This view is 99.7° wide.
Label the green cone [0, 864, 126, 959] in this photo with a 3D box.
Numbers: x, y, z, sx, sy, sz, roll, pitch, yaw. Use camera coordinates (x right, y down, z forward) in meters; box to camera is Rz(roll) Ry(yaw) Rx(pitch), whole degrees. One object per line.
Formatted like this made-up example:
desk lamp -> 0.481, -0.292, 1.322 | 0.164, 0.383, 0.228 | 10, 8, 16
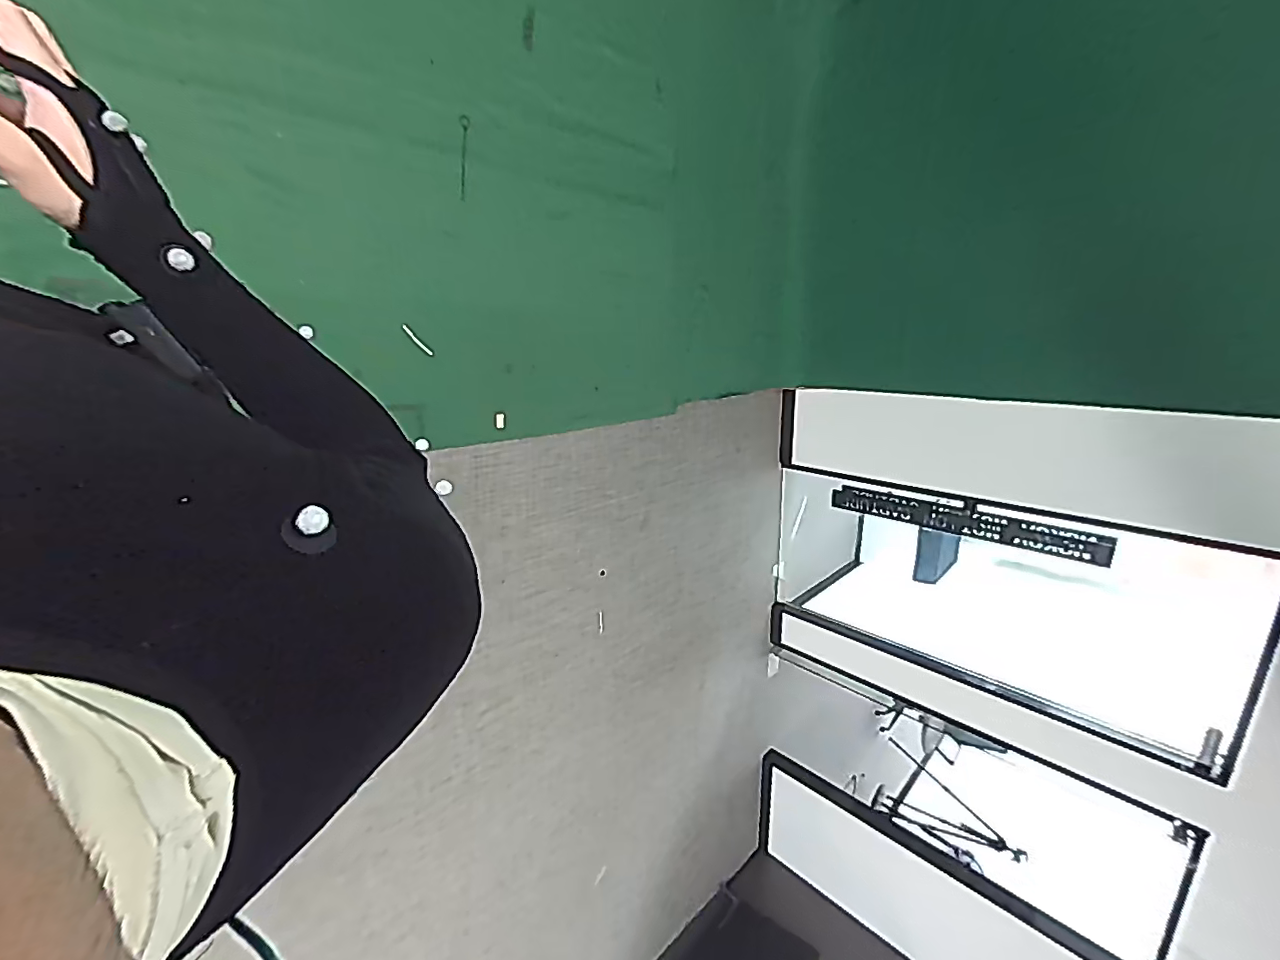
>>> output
green cone -> -1.233, 1.057, 1.140 | 0.202, 0.368, 0.200 | -14, 110, -42
